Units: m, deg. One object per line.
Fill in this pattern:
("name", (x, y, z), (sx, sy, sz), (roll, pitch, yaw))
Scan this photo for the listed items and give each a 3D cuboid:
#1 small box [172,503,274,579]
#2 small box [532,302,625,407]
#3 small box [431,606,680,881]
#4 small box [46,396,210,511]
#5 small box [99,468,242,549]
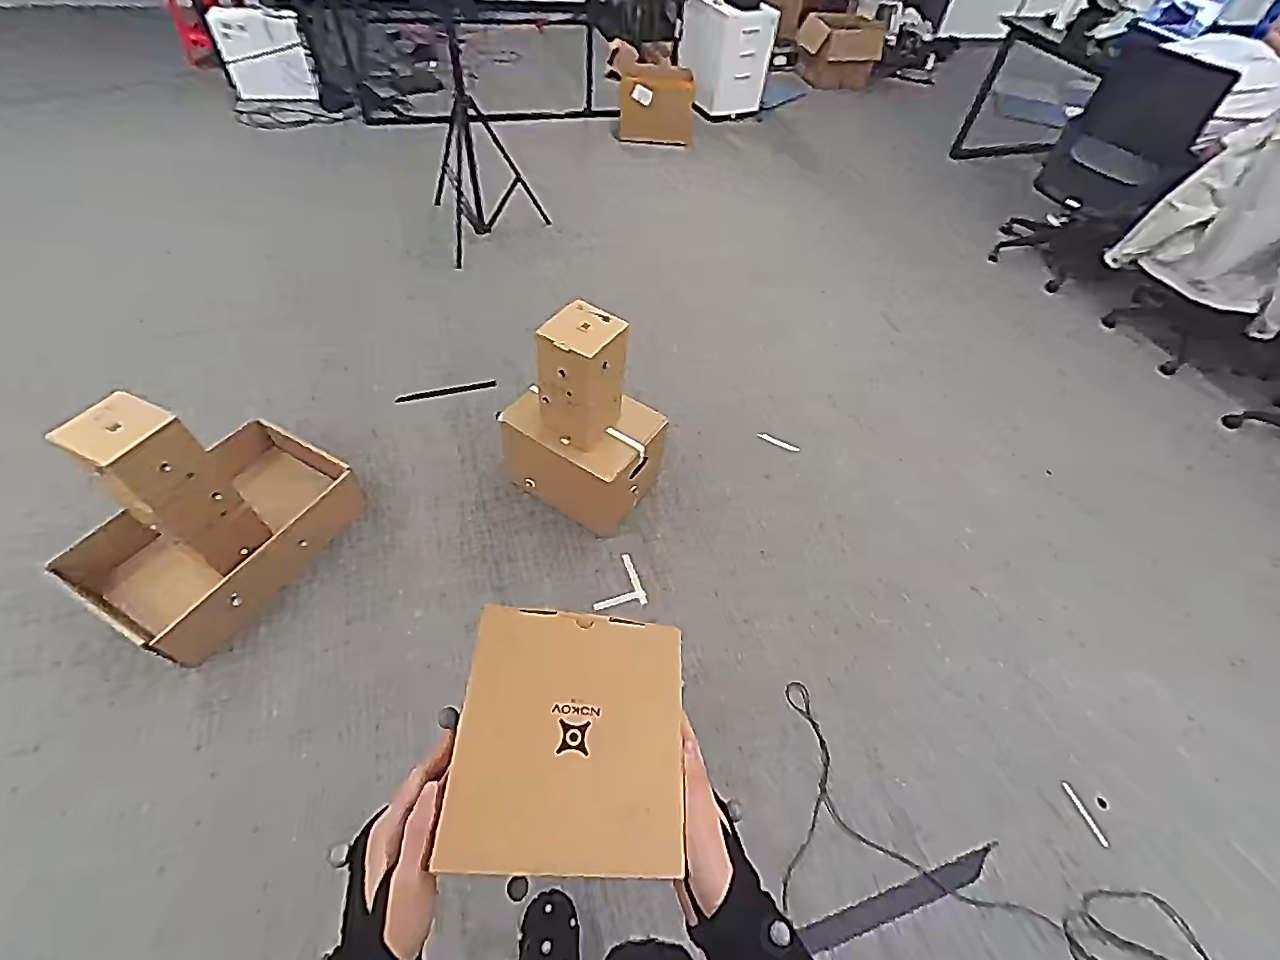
("small box", (-1.164, 0.144, 1.481), (0.179, 0.176, 0.168), (26, 55, 12))
("small box", (-0.154, -0.319, 1.394), (0.168, 0.176, 0.179), (29, 56, 15))
("small box", (-0.067, 0.229, 0.462), (0.168, 0.176, 0.179), (9, 53, -10))
("small box", (-1.138, -0.054, 1.222), (0.179, 0.176, 0.168), (22, 52, 10))
("small box", (-1.156, 0.049, 1.350), (0.179, 0.176, 0.168), (21, 53, 11))
